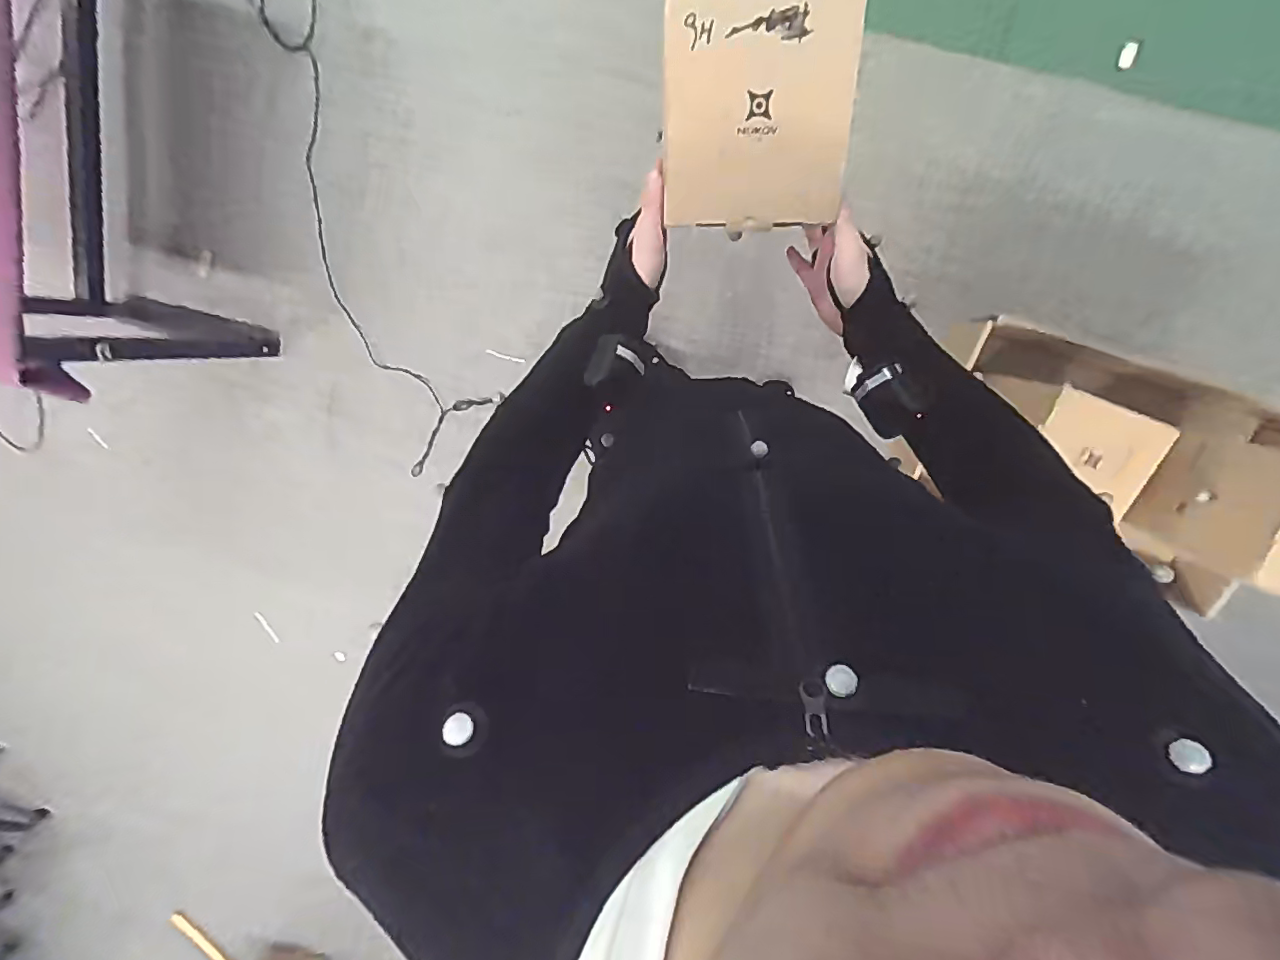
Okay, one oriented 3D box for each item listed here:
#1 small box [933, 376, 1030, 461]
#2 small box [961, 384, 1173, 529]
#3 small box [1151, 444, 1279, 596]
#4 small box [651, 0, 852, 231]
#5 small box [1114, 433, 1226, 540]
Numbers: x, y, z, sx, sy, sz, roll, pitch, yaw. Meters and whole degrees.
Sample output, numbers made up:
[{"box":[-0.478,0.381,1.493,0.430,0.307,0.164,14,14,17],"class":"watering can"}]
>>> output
[{"box":[0.698,-0.092,1.027,0.179,0.176,0.168,20,106,2],"class":"small box"},{"box":[0.666,-0.048,0.873,0.179,0.176,0.168,23,107,1],"class":"small box"},{"box":[0.853,0.061,0.707,0.179,0.176,0.168,19,106,6],"class":"small box"},{"box":[0.094,-0.356,0.549,0.168,0.176,0.179,-1,117,1],"class":"small box"},{"box":[0.895,0.028,0.864,0.179,0.176,0.168,21,107,6],"class":"small box"}]
